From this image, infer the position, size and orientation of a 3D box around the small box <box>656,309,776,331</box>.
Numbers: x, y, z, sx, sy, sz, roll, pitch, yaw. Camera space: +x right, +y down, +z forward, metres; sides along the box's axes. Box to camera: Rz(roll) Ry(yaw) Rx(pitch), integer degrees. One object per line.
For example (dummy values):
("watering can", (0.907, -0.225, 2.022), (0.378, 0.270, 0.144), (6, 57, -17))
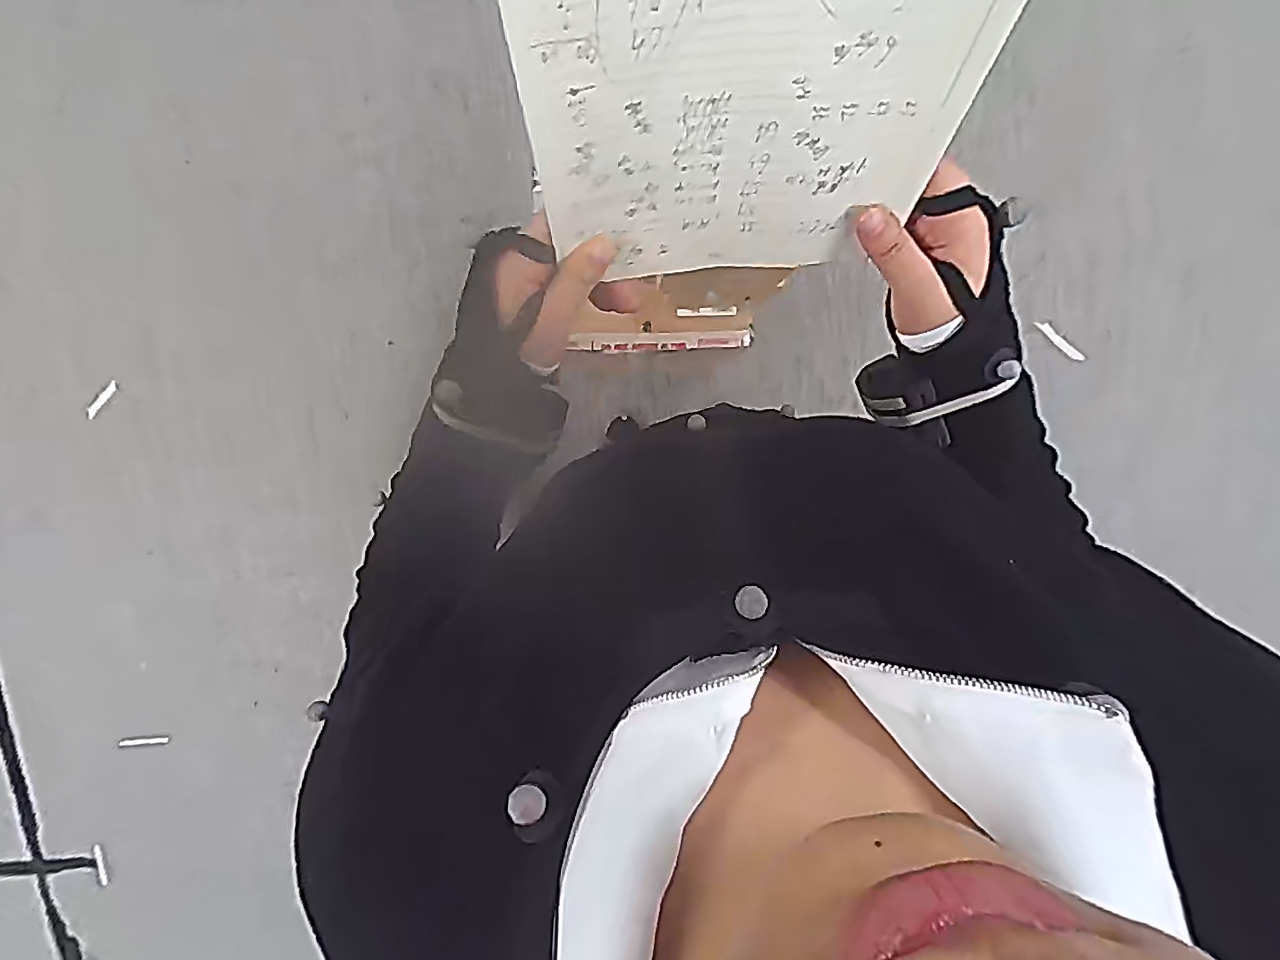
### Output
("small box", (0.117, -0.344, 0.896), (0.179, 0.176, 0.168), (-3, 98, 0))

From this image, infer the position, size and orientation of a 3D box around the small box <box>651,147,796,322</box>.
("small box", (0.101, -0.318, 0.733), (0.168, 0.176, 0.179), (1, 99, -2))
